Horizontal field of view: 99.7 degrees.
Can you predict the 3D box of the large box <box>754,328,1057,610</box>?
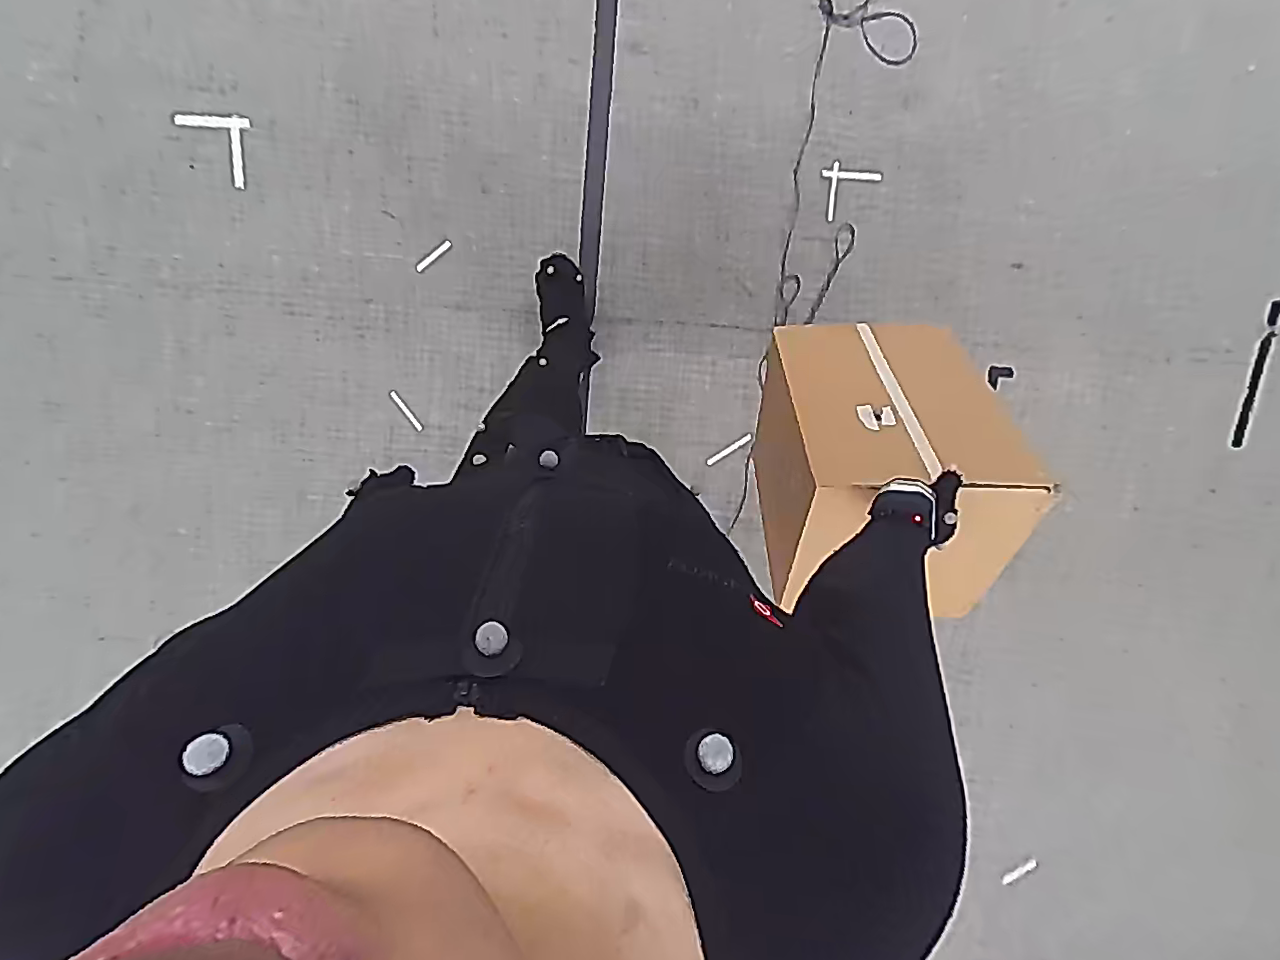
[{"bbox_3d":[0.398,-0.025,0.952,0.320,0.408,0.320,0,137,2],"label":"large box"}]
